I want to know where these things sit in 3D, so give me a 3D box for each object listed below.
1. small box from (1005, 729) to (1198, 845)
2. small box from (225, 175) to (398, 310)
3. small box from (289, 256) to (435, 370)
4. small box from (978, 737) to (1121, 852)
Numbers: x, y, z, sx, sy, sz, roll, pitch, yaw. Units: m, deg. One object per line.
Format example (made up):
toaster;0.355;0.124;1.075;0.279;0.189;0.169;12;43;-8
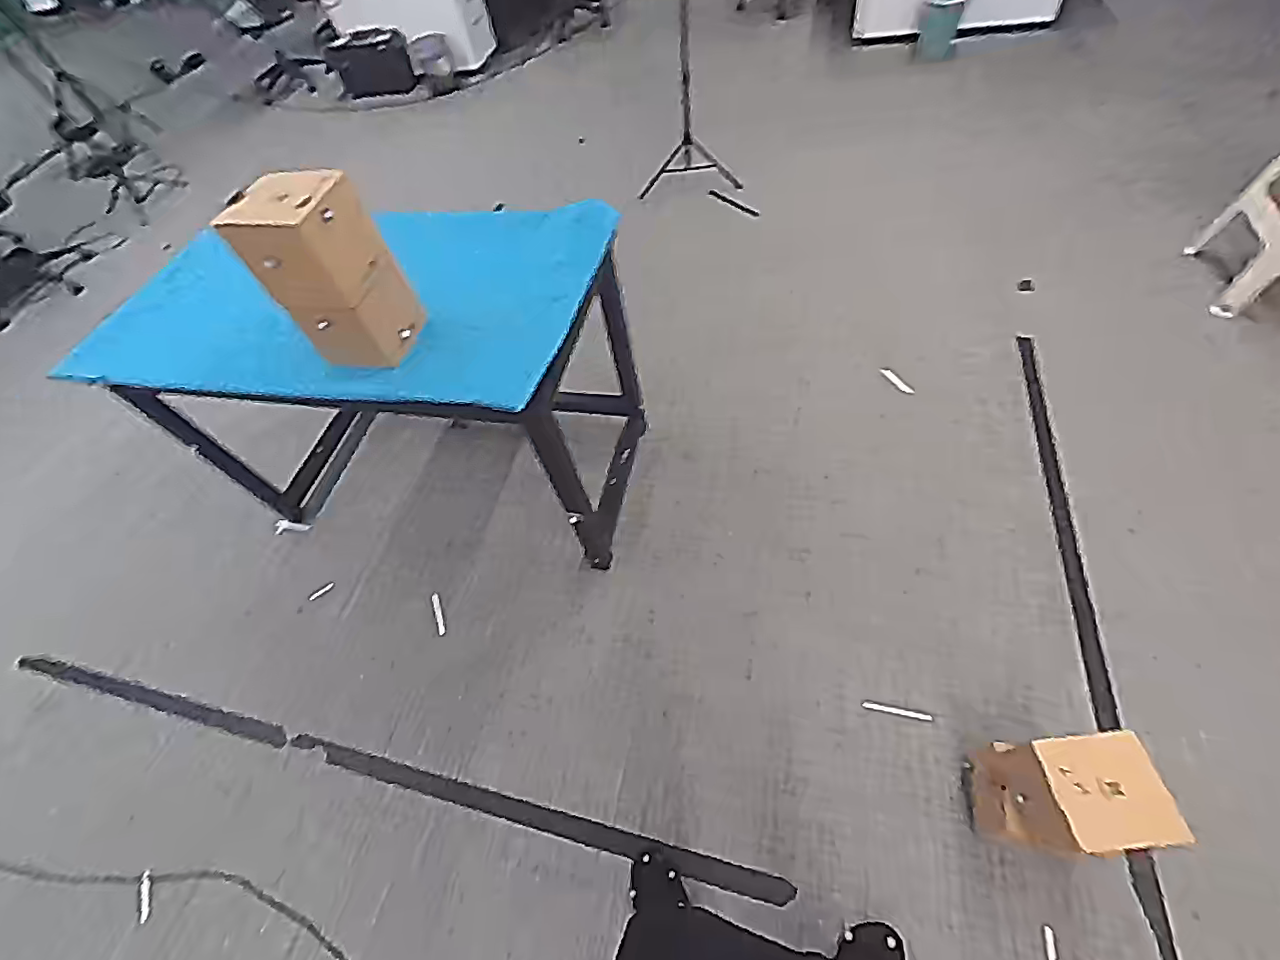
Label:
small box;0.798;0.547;0.960;0.179;0.176;0.168;-7;55;8
small box;-0.589;-0.431;0.996;0.179;0.176;0.168;3;57;11
small box;-0.571;-0.348;1.135;0.179;0.176;0.168;6;58;14
small box;0.811;0.639;1.097;0.179;0.176;0.168;6;58;13
